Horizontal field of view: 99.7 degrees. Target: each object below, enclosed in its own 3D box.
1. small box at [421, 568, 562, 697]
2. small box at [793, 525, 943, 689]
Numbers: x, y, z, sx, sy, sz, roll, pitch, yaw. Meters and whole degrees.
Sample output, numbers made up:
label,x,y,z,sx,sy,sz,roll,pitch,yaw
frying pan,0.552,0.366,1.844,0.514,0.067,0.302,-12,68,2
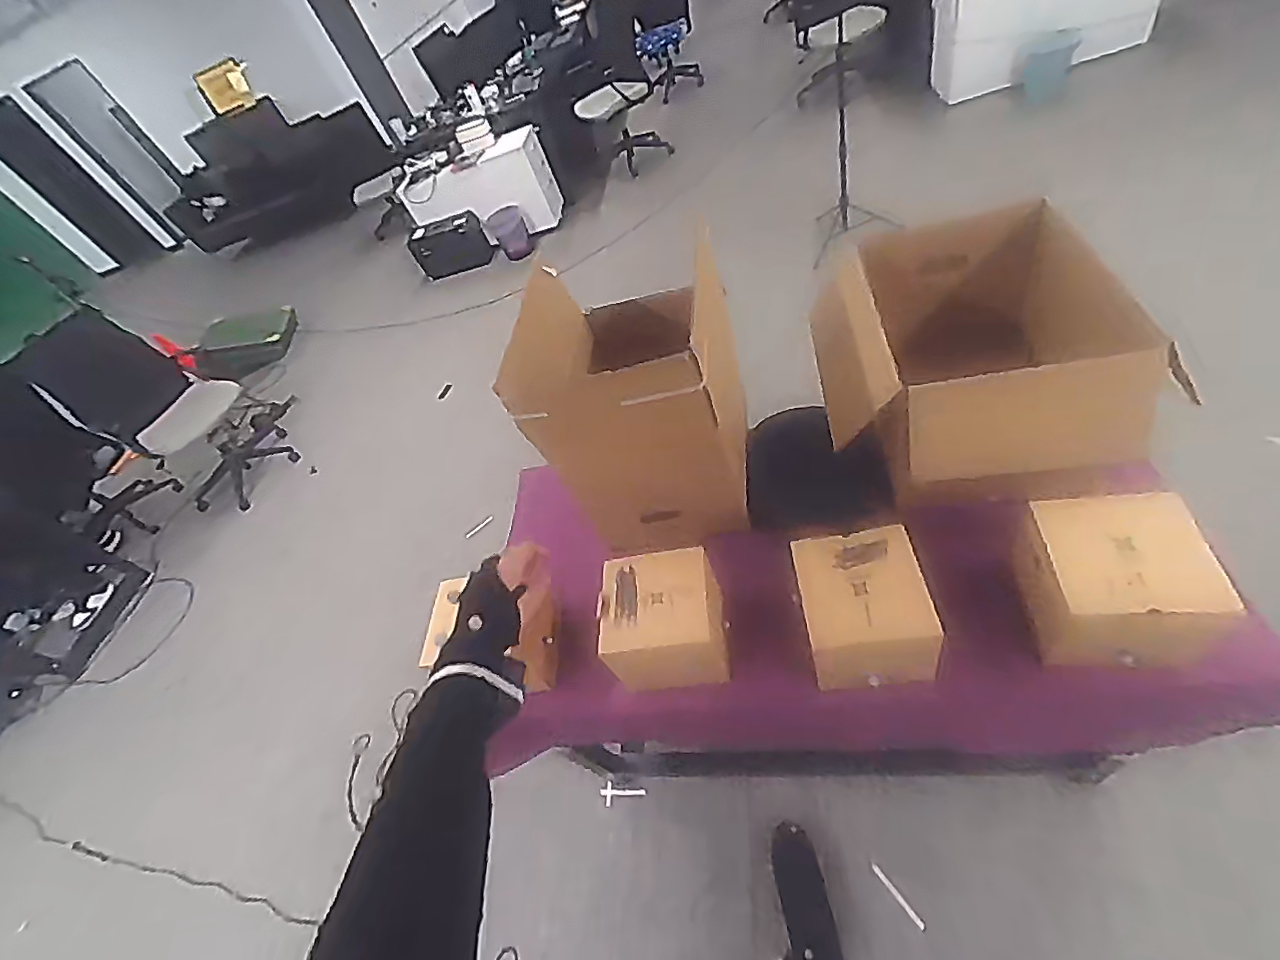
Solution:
label,x,y,z,sx,sy,sz,roll,pitch,yaw
small box,-0.262,0.286,0.995,0.179,0.176,0.168,-12,49,12
small box,0.333,0.194,0.814,0.168,0.176,0.179,-12,49,15
